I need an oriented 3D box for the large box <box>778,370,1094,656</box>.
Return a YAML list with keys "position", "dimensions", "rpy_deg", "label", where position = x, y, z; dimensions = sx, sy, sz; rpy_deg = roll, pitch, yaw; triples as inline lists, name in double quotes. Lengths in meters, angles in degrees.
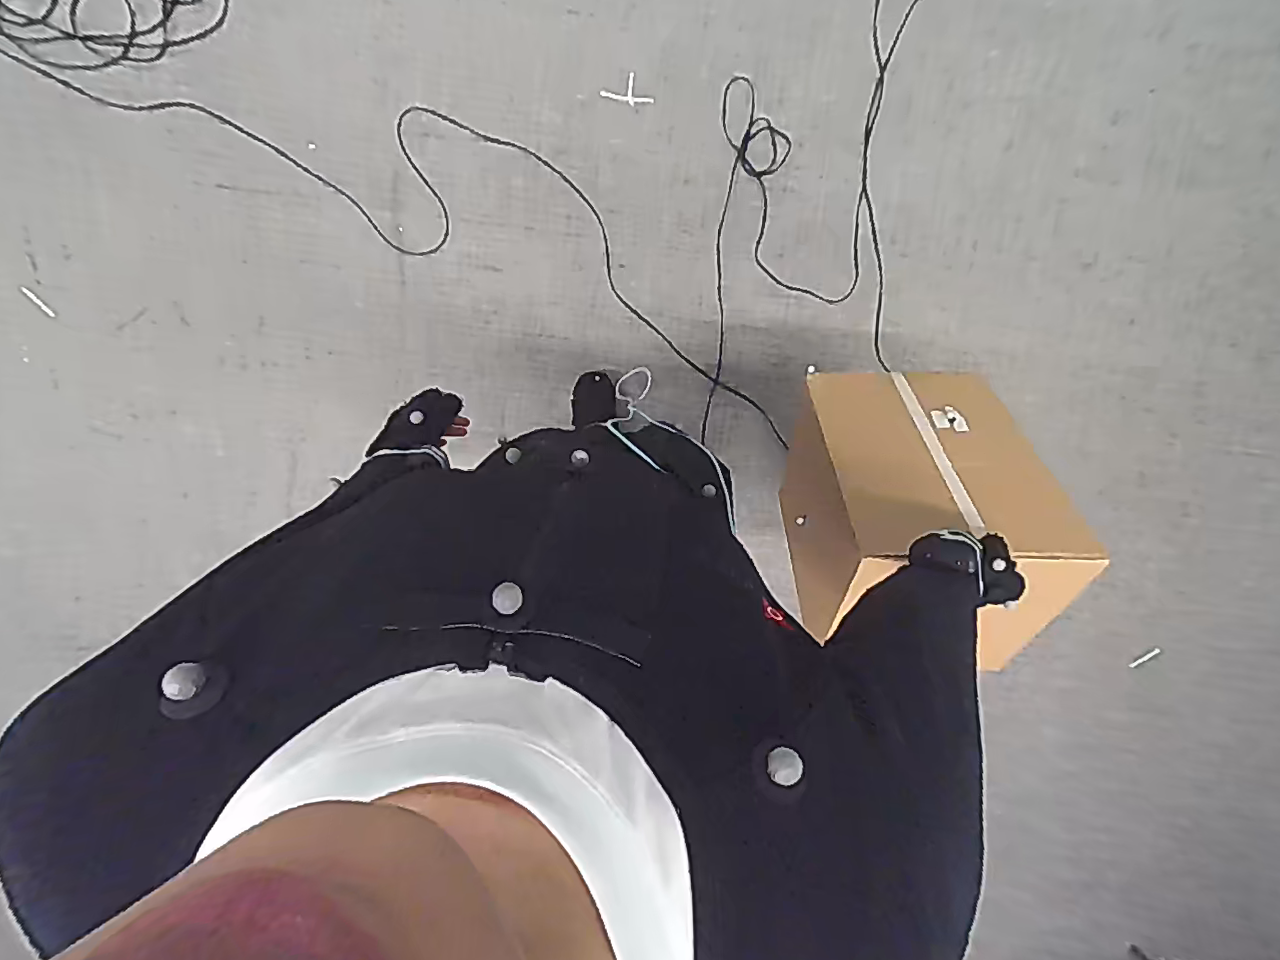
- position: [0.443, 0.054, 0.942]
  dimensions: [0.320, 0.408, 0.320]
  rpy_deg: [2, 136, 1]
  label: "large box"
